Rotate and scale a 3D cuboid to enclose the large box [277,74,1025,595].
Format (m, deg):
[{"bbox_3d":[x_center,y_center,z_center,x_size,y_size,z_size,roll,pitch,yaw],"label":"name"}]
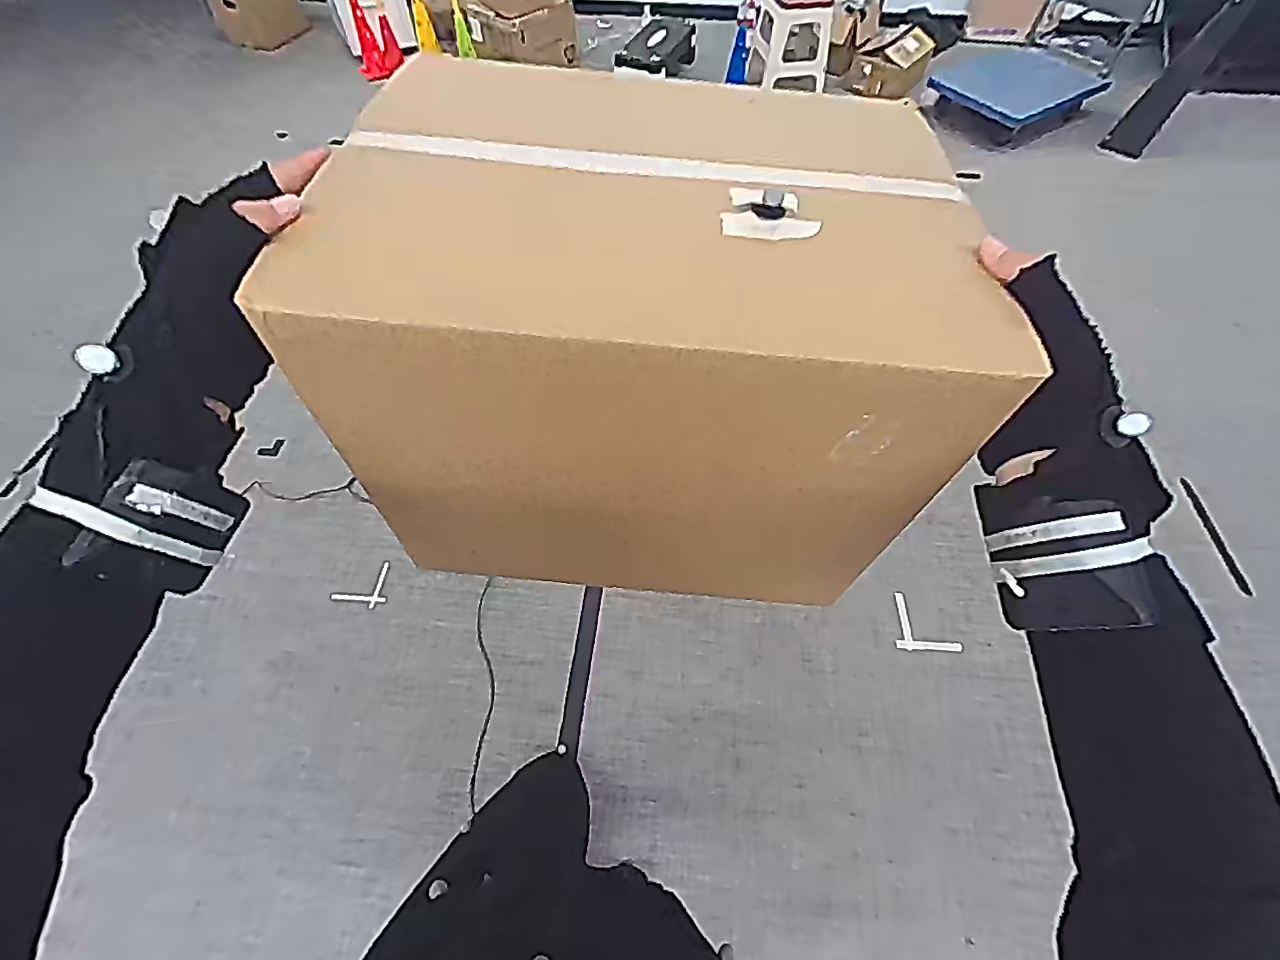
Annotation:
[{"bbox_3d":[0.005,-0.108,0.486,0.408,0.320,0.320,6,57,-1],"label":"large box"}]
